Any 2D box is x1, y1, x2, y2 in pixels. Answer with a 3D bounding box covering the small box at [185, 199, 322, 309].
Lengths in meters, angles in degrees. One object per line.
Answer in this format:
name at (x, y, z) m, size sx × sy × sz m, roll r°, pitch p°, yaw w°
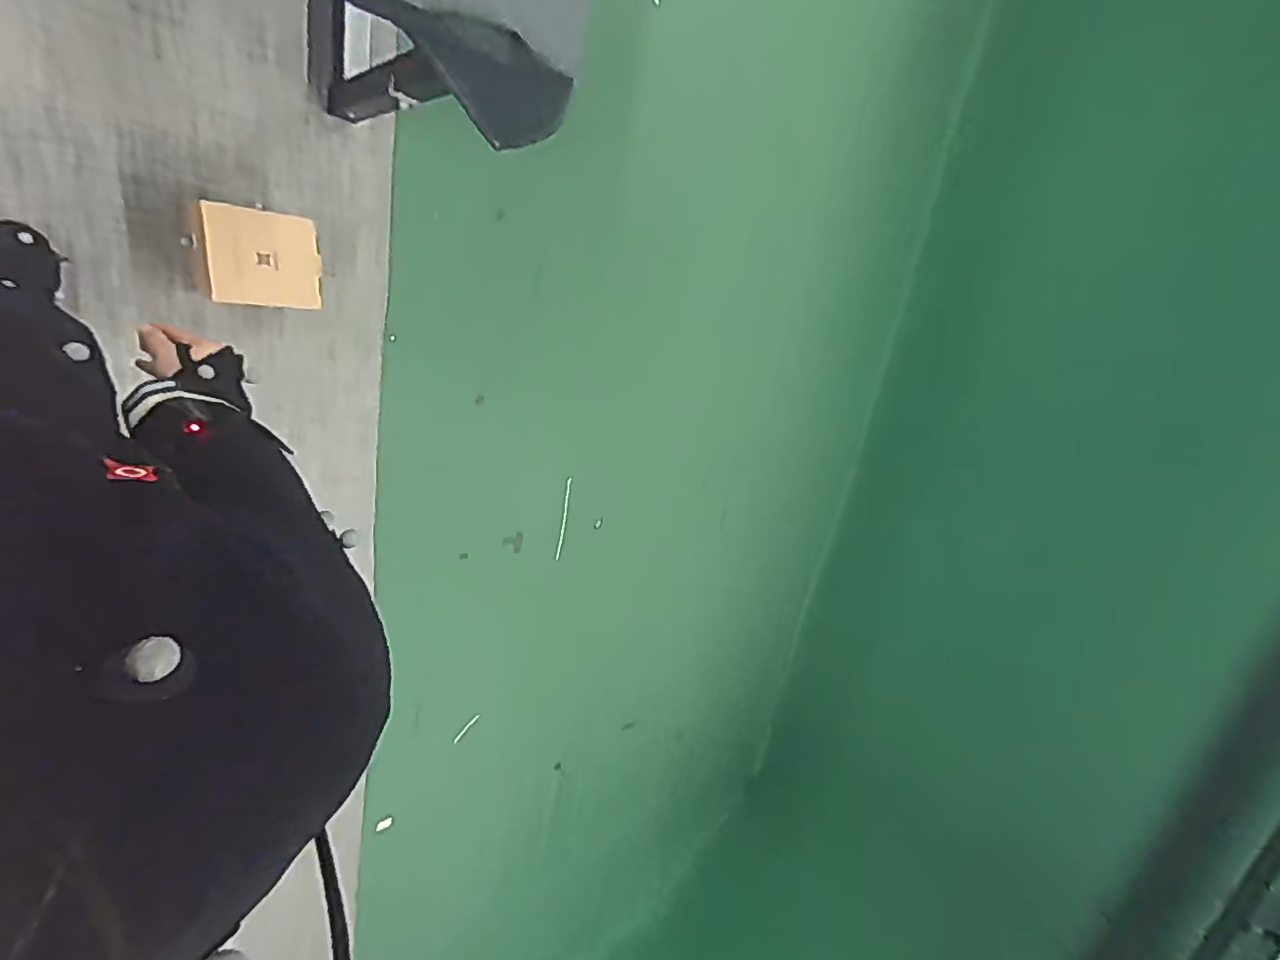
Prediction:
small box at (-0.732, -0.426, 1.029) m, size 0.179 × 0.176 × 0.168 m, roll -11°, pitch 115°, yaw -45°
